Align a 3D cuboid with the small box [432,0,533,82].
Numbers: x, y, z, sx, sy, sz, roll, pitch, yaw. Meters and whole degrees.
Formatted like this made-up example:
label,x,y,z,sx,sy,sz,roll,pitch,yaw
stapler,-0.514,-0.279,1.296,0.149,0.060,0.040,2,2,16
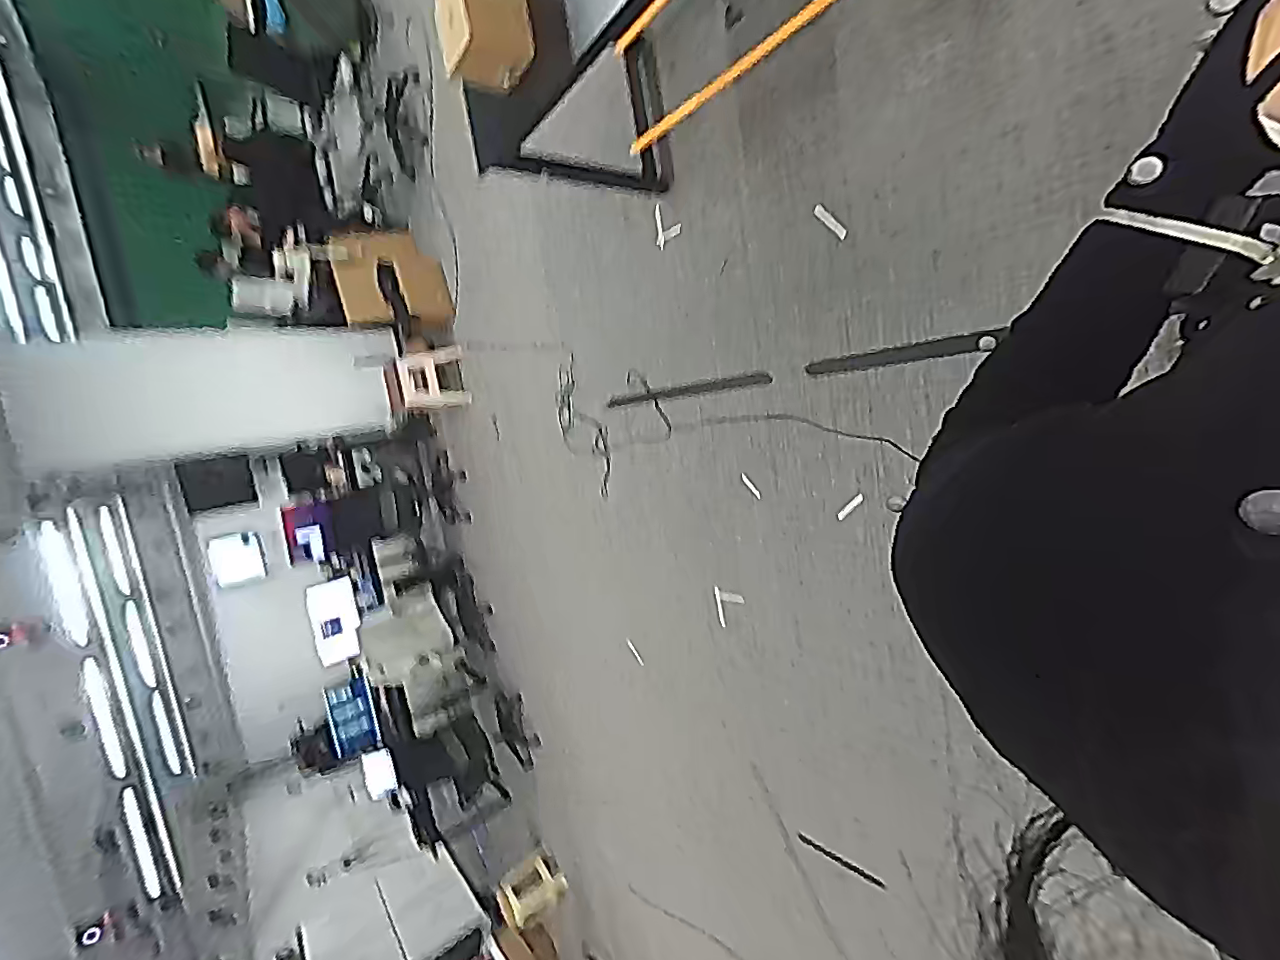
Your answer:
label,x,y,z,sx,sy,sz,roll,pitch,yaw
small box,-0.378,-1.109,1.301,0.168,0.176,0.179,0,102,53
